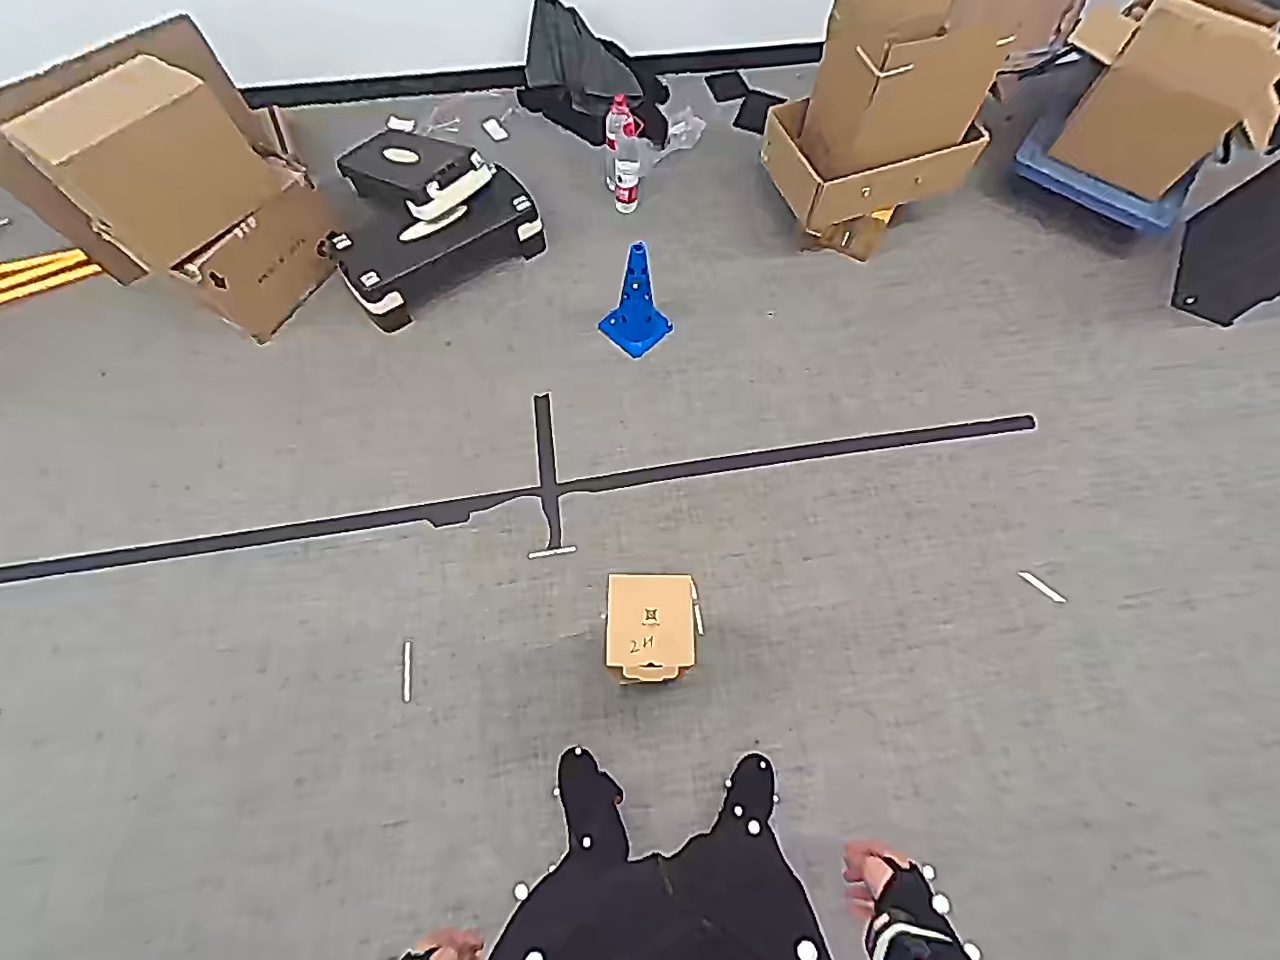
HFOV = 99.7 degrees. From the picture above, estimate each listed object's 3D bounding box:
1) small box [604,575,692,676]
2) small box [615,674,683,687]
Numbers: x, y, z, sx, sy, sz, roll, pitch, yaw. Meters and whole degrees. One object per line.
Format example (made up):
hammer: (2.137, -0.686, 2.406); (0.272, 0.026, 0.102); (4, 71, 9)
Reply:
small box: (0.013, 0.302, 1.106); (0.168, 0.176, 0.179); (2, 68, -1)
small box: (0.017, 0.441, 1.406); (0.168, 0.176, 0.179); (-4, 68, -3)
